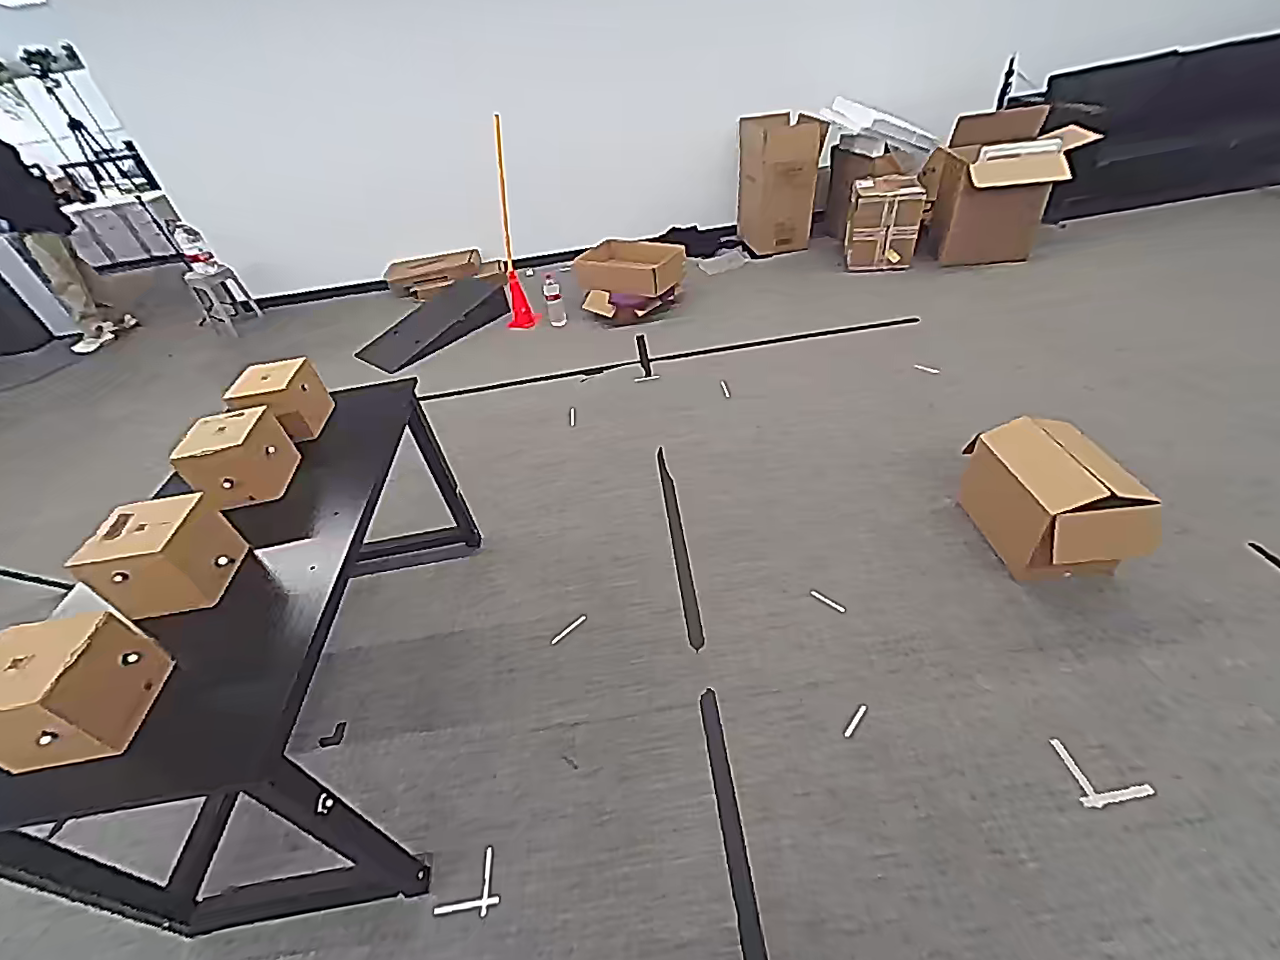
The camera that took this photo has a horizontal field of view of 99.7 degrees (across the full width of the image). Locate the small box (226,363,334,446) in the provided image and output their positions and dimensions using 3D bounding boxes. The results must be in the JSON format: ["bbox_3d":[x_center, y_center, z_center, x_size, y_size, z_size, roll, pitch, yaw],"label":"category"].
[{"bbox_3d":[-1.002,-0.204,1.526,0.168,0.176,0.179,-9,41,-1],"label":"small box"}]

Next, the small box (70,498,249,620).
[{"bbox_3d":[-0.951,0.163,1.093,0.179,0.176,0.168,-9,40,-2],"label":"small box"}]

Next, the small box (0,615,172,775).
[{"bbox_3d":[-0.928,0.348,0.874,0.179,0.176,0.168,-11,39,-1],"label":"small box"}]

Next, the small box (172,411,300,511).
[{"bbox_3d":[-0.981,-0.041,1.336,0.168,0.176,0.179,-12,41,-4],"label":"small box"}]
